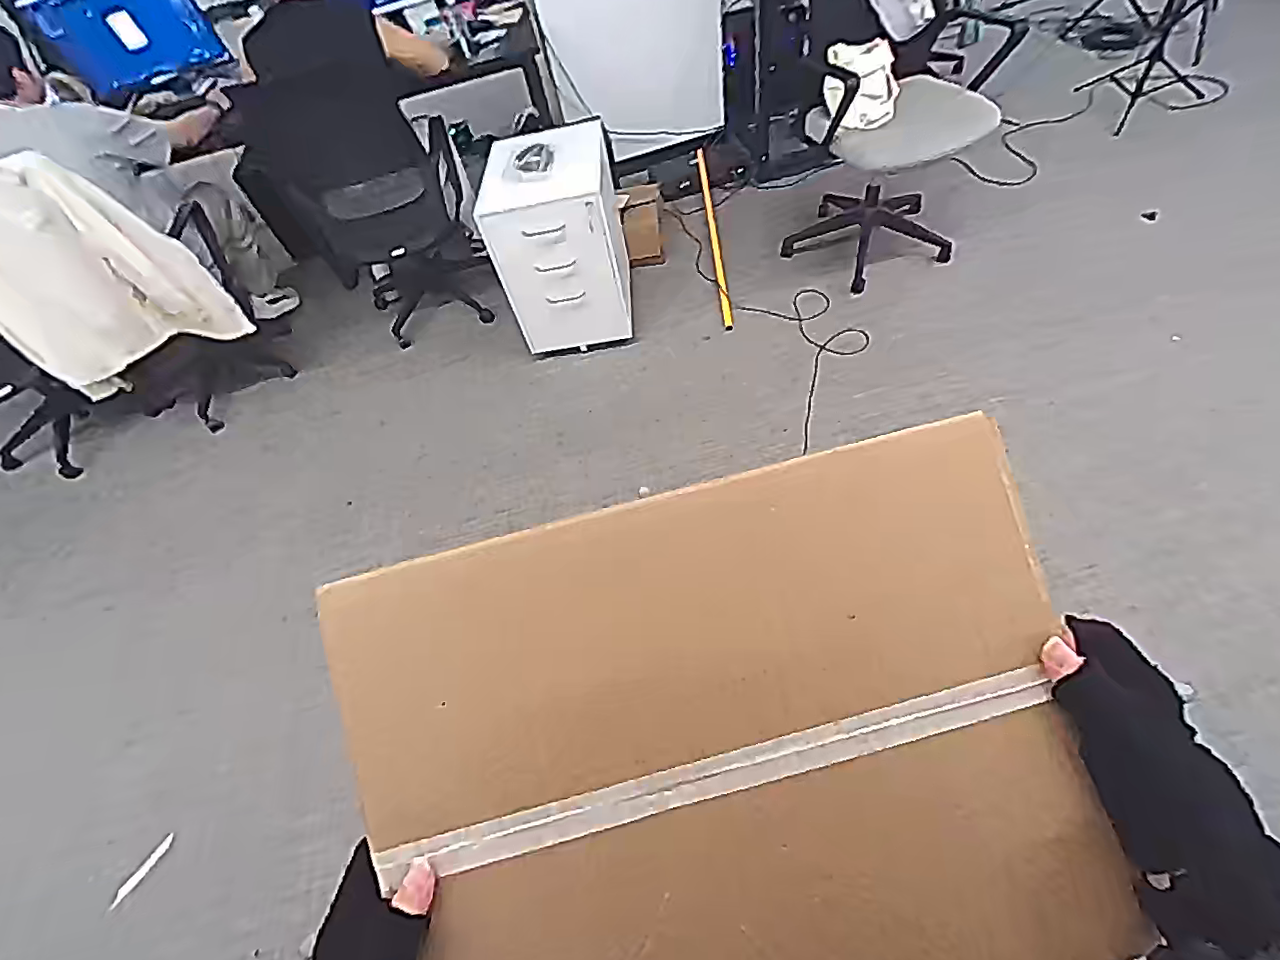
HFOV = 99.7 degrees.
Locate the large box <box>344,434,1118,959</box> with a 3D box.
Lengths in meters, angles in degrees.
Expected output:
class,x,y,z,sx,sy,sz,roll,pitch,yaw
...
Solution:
class,x,y,z,sx,sy,sz,roll,pitch,yaw
large box,0.052,0.178,0.467,0.408,0.320,0.320,-15,86,-2
